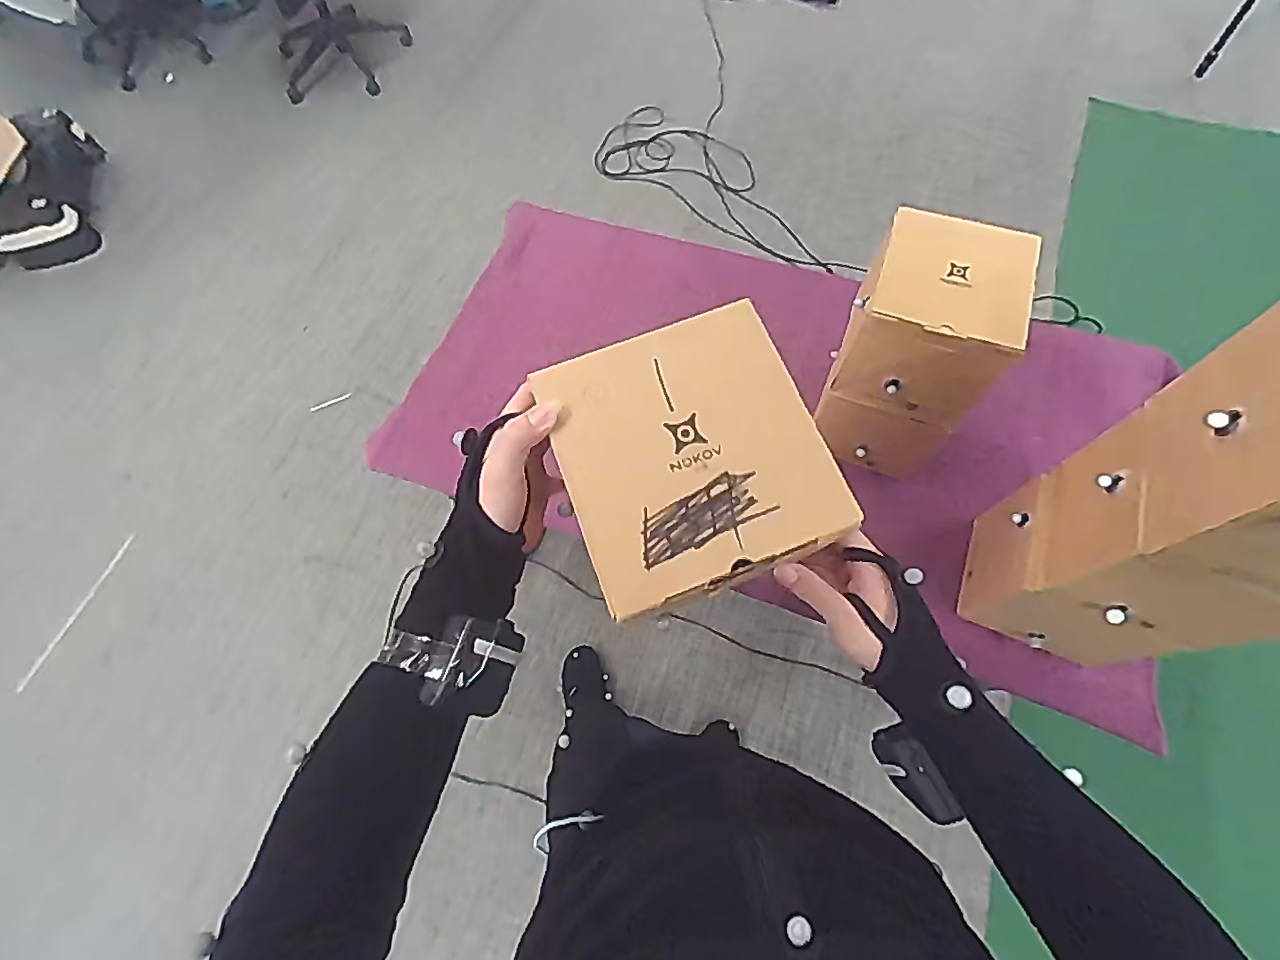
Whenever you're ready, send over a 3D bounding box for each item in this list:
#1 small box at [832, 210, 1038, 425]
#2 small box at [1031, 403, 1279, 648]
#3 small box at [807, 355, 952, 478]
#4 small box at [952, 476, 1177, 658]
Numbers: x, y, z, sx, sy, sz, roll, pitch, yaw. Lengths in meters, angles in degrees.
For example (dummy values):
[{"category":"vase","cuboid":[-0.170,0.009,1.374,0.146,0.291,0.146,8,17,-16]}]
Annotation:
[{"category":"small box","cuboid":[0.363,-0.200,0.692,0.168,0.176,0.179,19,70,10]},{"category":"small box","cuboid":[0.554,0.055,0.570,0.168,0.176,0.179,21,68,13]},{"category":"small box","cuboid":[0.376,-0.132,0.839,0.168,0.176,0.179,22,70,12]},{"category":"small box","cuboid":[0.557,0.124,0.720,0.179,0.176,0.168,21,68,12]}]
